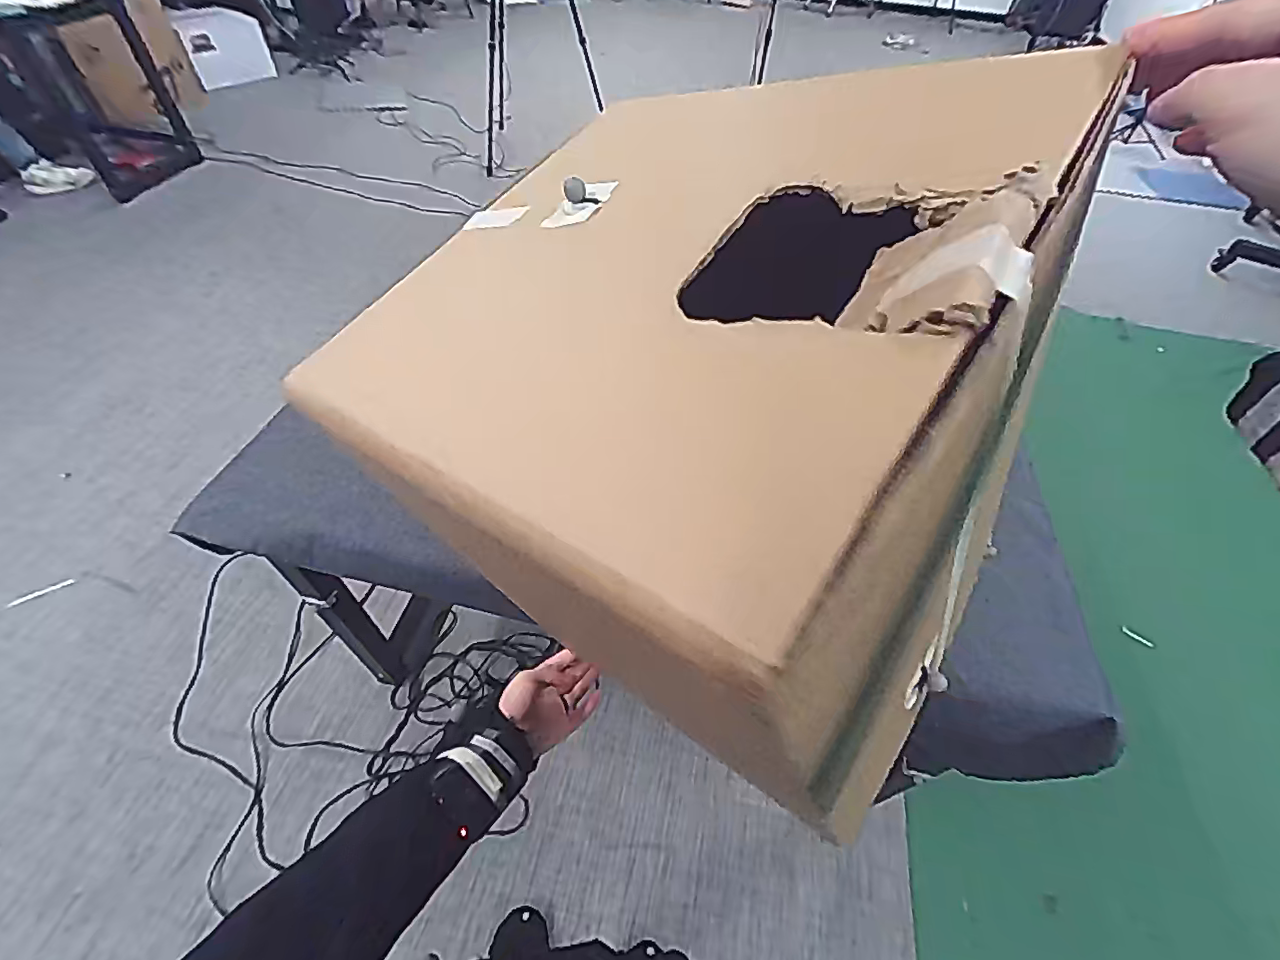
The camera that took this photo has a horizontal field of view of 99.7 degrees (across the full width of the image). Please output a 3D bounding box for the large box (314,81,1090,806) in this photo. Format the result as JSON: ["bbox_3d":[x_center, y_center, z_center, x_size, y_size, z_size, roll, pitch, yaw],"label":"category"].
[{"bbox_3d":[0.067,-0.005,0.425,0.320,0.408,0.320,23,66,34],"label":"large box"}]
